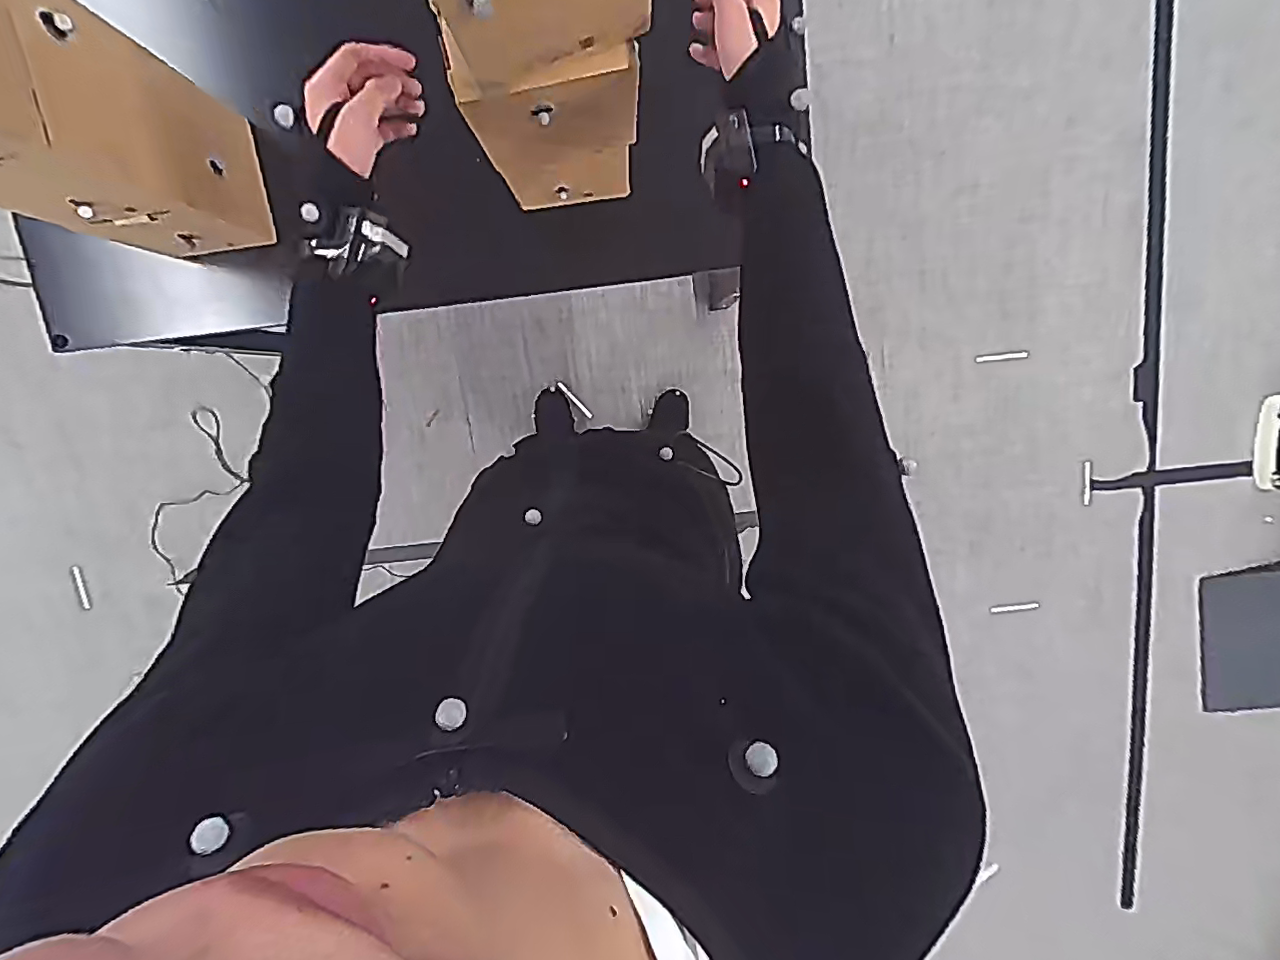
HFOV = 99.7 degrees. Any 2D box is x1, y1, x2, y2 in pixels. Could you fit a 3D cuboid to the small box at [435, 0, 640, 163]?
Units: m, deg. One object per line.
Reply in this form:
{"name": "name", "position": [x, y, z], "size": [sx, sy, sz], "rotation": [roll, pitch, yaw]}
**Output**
{"name": "small box", "position": [-0.100, -0.457, 0.560], "size": [0.179, 0.176, 0.168], "rotation": [-12, 101, 0]}

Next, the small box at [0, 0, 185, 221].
{"name": "small box", "position": [-0.632, -0.392, 0.558], "size": [0.168, 0.176, 0.179], "rotation": [-8, 100, 1]}

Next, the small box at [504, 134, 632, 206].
{"name": "small box", "position": [-0.104, -0.492, 0.720], "size": [0.168, 0.176, 0.179], "rotation": [-8, 100, 0]}

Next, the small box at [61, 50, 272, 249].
{"name": "small box", "position": [-0.636, -0.419, 0.721], "size": [0.168, 0.176, 0.179], "rotation": [-9, 101, 0]}

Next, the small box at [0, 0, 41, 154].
{"name": "small box", "position": [-0.628, -0.363, 0.398], "size": [0.168, 0.176, 0.179], "rotation": [-8, 101, 1]}
